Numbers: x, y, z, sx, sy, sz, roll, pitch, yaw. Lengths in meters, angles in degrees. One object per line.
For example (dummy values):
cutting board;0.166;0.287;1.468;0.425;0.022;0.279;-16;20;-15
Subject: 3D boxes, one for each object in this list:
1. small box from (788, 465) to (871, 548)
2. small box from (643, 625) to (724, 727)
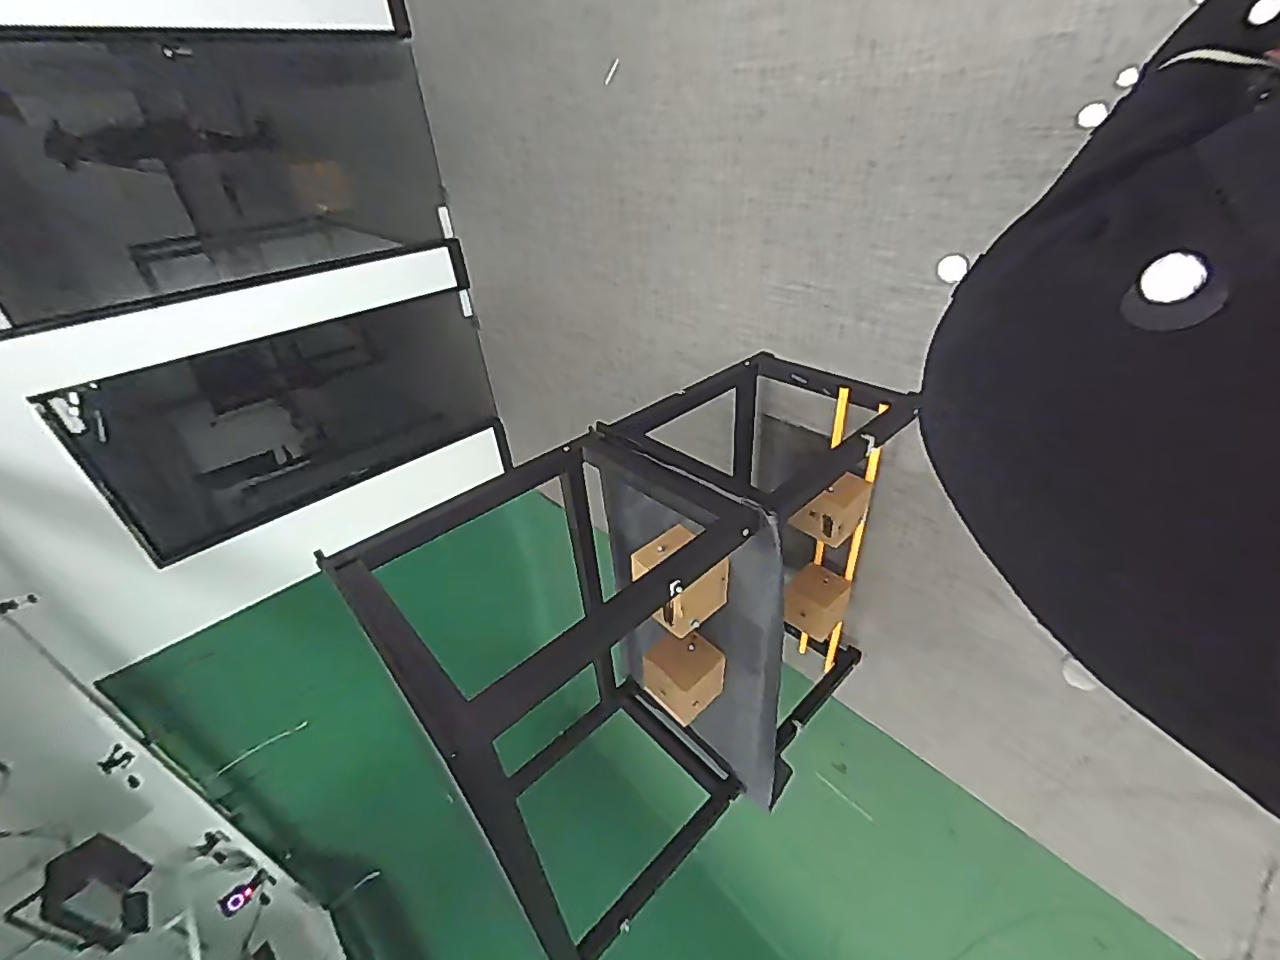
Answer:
small box;0.595;0.076;1.694;0.179;0.176;0.168;32;138;36
small box;0.126;0.558;1.552;0.168;0.176;0.179;32;138;37
